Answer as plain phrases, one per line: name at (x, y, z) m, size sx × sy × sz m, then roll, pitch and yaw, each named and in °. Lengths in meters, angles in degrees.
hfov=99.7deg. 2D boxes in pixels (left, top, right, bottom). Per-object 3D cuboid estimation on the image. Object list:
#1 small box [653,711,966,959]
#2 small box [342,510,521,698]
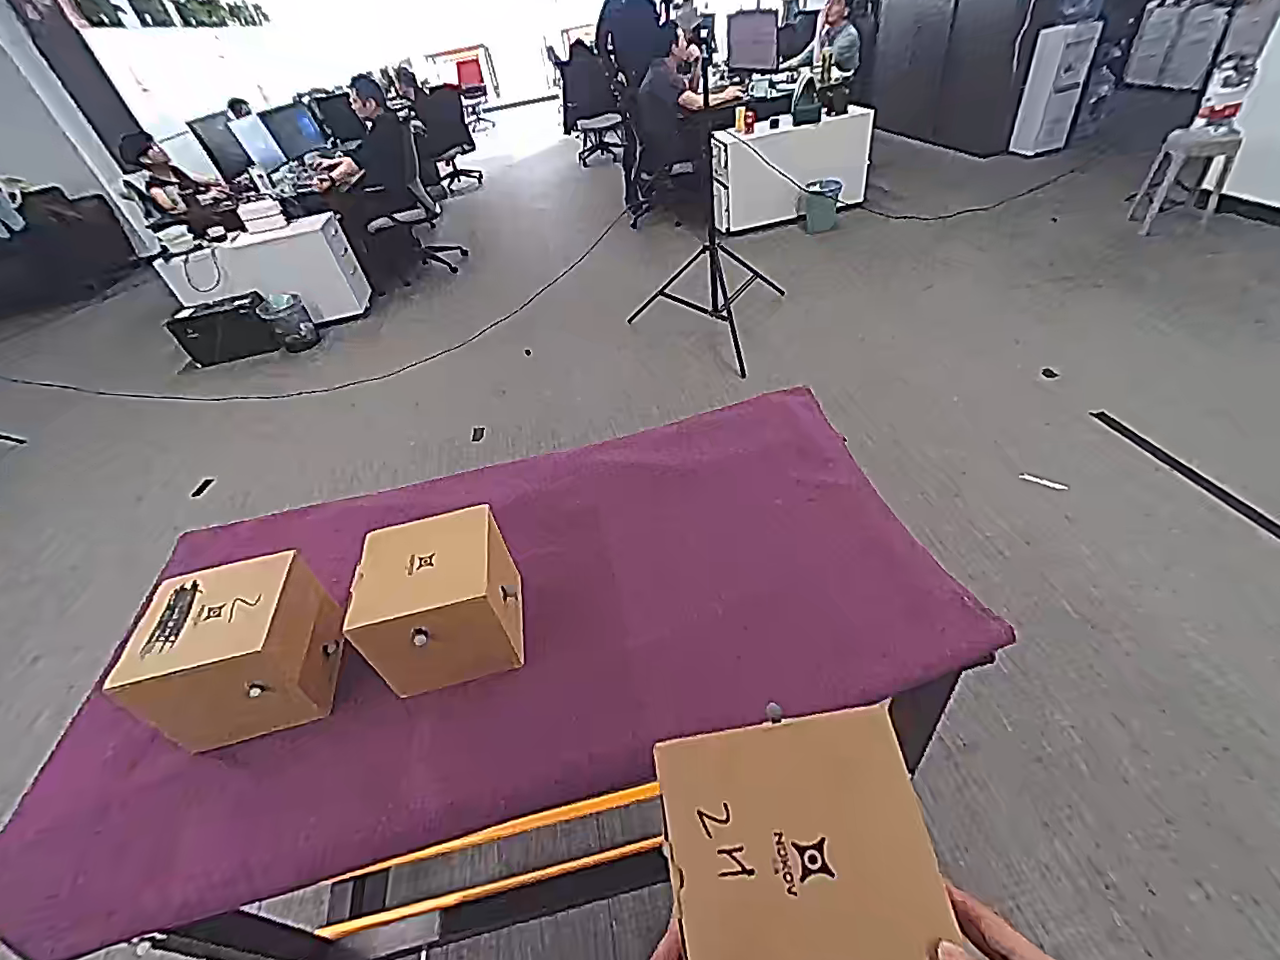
small box at (0.114, 0.285, 0.432) m, size 0.179 × 0.176 × 0.168 m, roll -11°, pitch 64°, yaw 3°
small box at (-0.269, 0.172, 0.748) m, size 0.179 × 0.176 × 0.168 m, roll -14°, pitch 41°, yaw -3°
